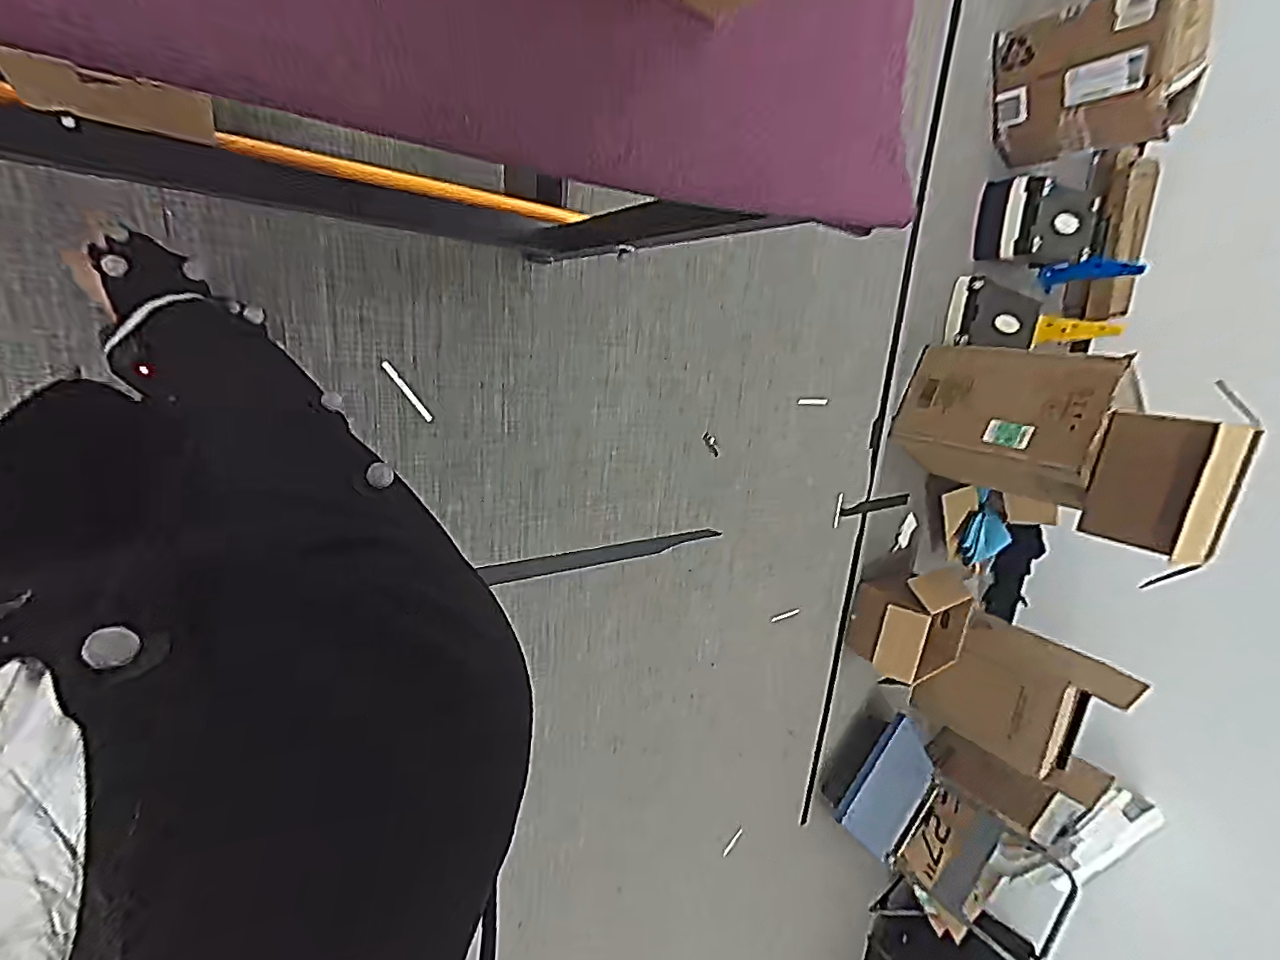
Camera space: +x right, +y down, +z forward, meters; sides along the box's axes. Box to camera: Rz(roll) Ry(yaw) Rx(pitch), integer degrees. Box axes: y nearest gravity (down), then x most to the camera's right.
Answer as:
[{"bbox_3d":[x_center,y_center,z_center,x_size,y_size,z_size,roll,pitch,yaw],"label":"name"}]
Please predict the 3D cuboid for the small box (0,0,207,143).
[{"bbox_3d":[-0.575,-0.492,0.572,0.168,0.176,0.179,-8,102,-37],"label":"small box"}]
